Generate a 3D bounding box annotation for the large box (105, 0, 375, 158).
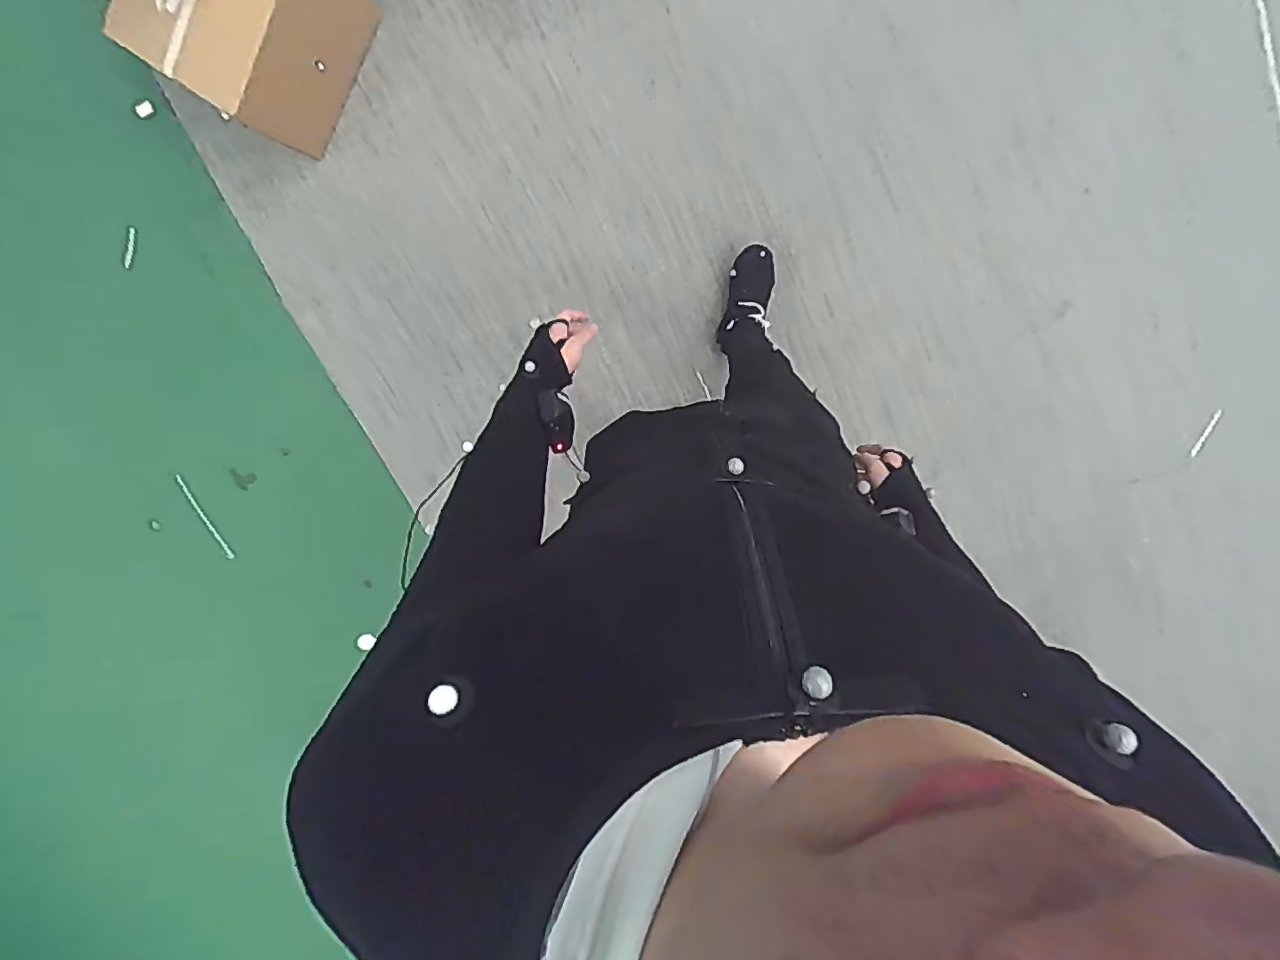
[{"bbox_3d":[-0.900,-1.065,1.256,0.320,0.320,0.408,33,105,-4],"label":"large box"}]
